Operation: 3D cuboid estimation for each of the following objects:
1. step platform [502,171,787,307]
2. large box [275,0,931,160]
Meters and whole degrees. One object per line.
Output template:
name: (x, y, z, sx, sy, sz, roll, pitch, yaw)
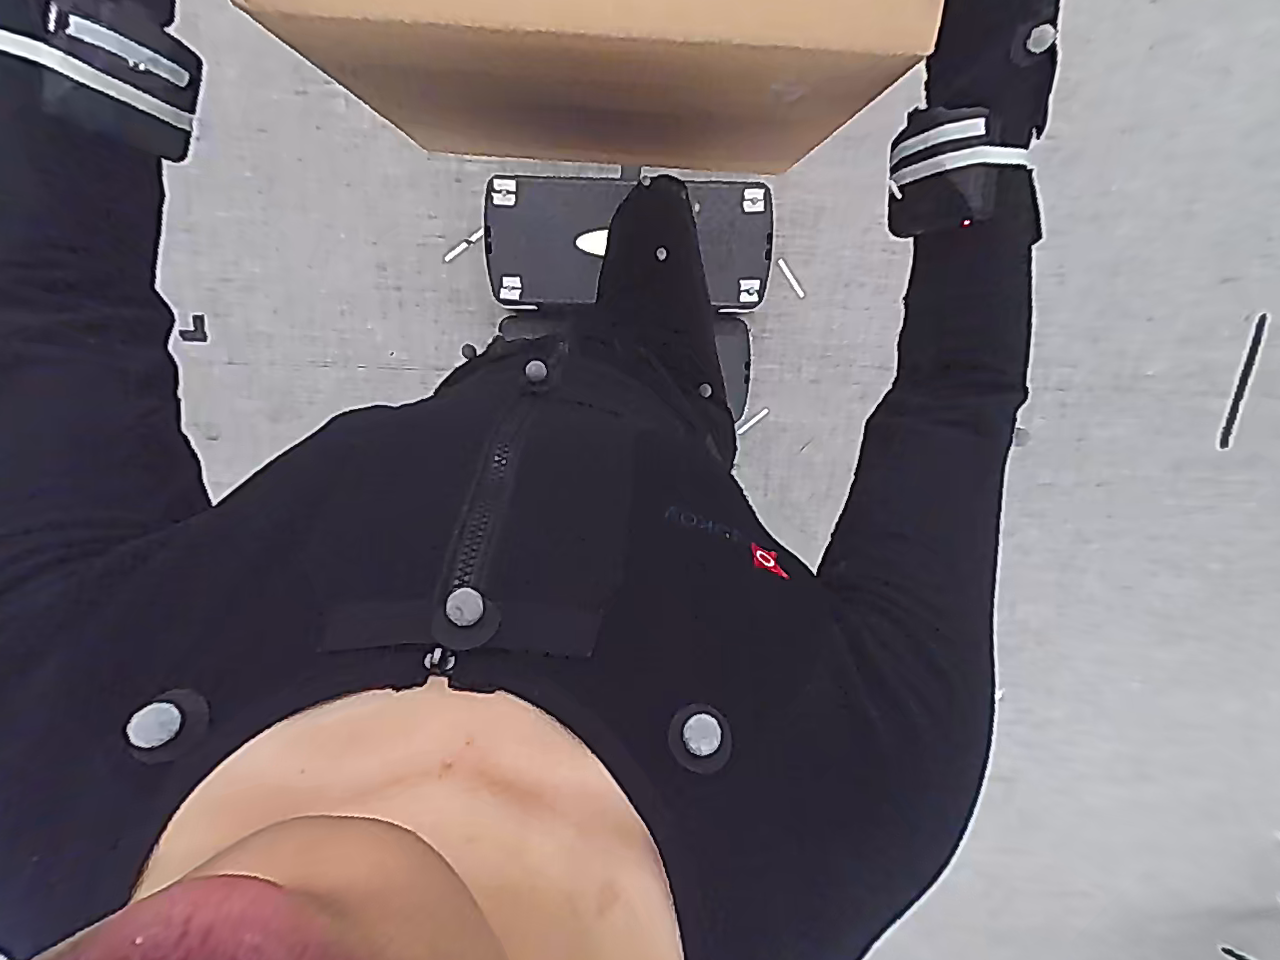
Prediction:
step platform: (0.010, -0.583, 1.334, 0.684, 0.204, 0.286, -1, 106, -4)
large box: (-0.024, -0.465, 0.419, 0.408, 0.320, 0.320, 2, 109, -3)
